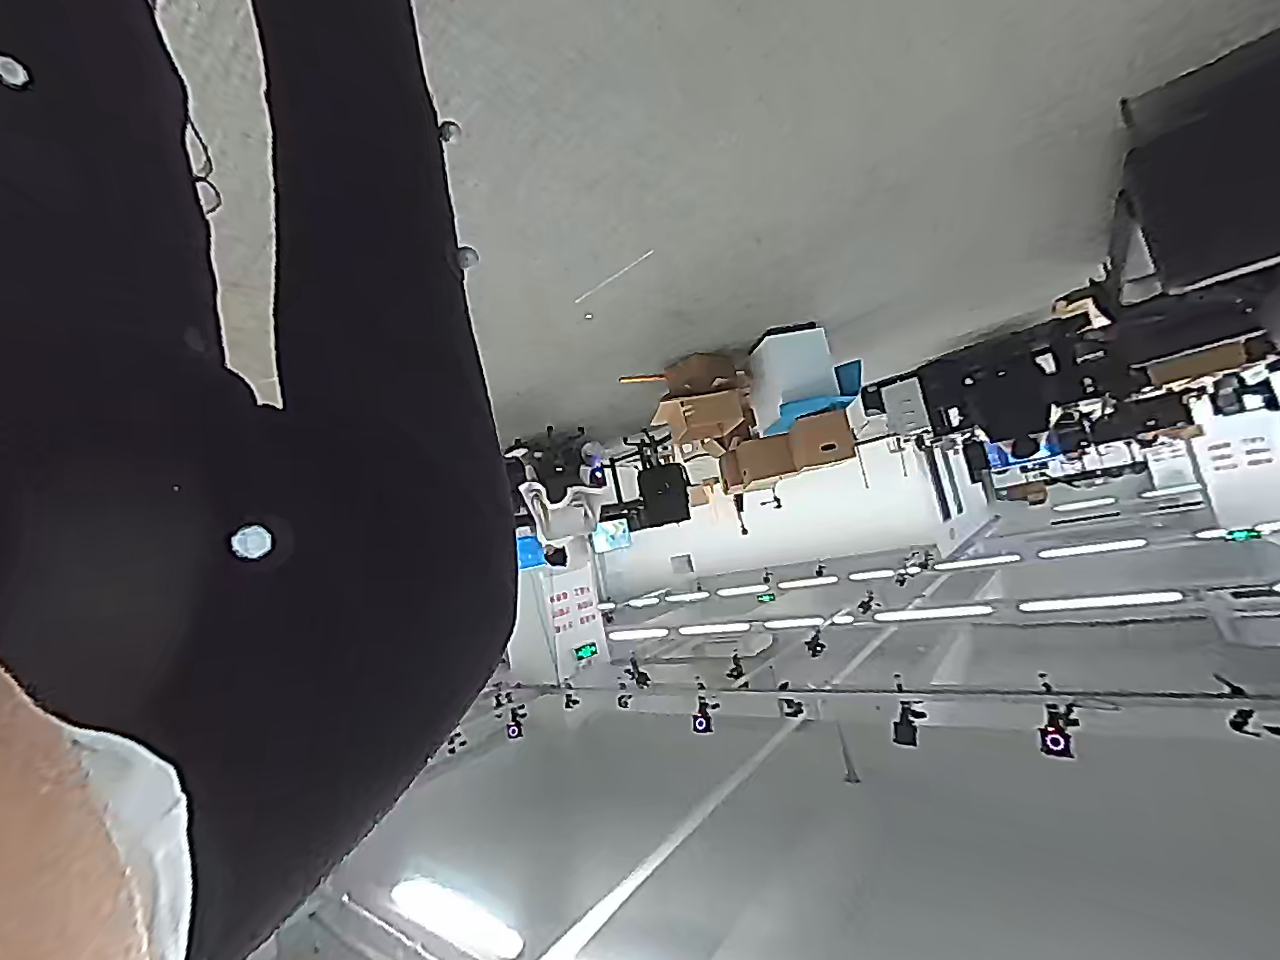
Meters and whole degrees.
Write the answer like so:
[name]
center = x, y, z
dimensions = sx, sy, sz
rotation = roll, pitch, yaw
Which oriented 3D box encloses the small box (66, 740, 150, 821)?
[small box]
center = -1.720, 0.957, 1.746
dimensions = 0.168, 0.176, 0.179
rotation = -18, 171, 42
